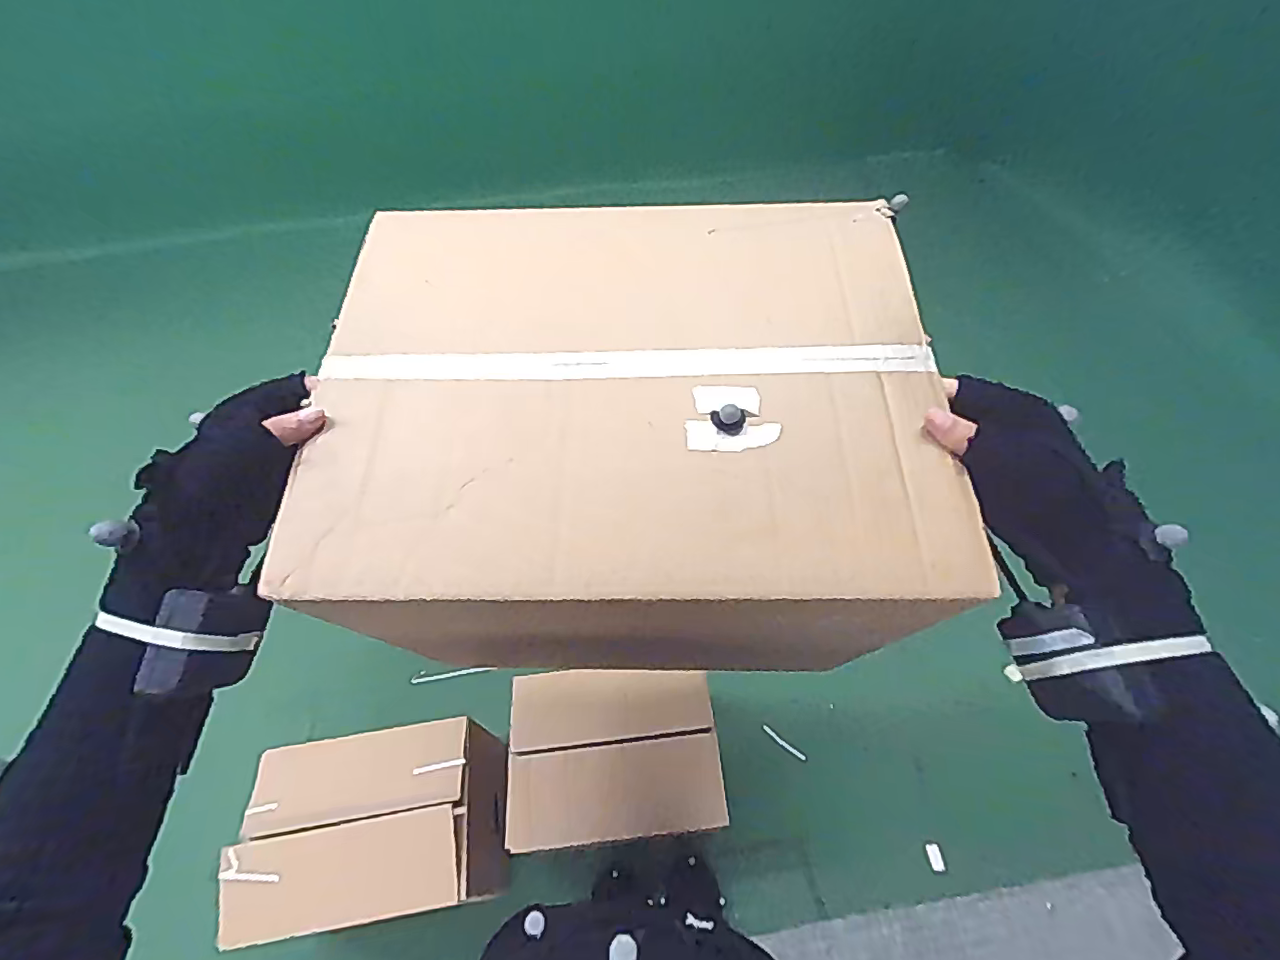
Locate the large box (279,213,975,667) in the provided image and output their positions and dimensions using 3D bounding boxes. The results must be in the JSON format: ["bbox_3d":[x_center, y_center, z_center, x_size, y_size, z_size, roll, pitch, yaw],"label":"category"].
[{"bbox_3d":[-0.008,-0.010,0.502,0.408,0.320,0.320,0,64,1],"label":"large box"}]
